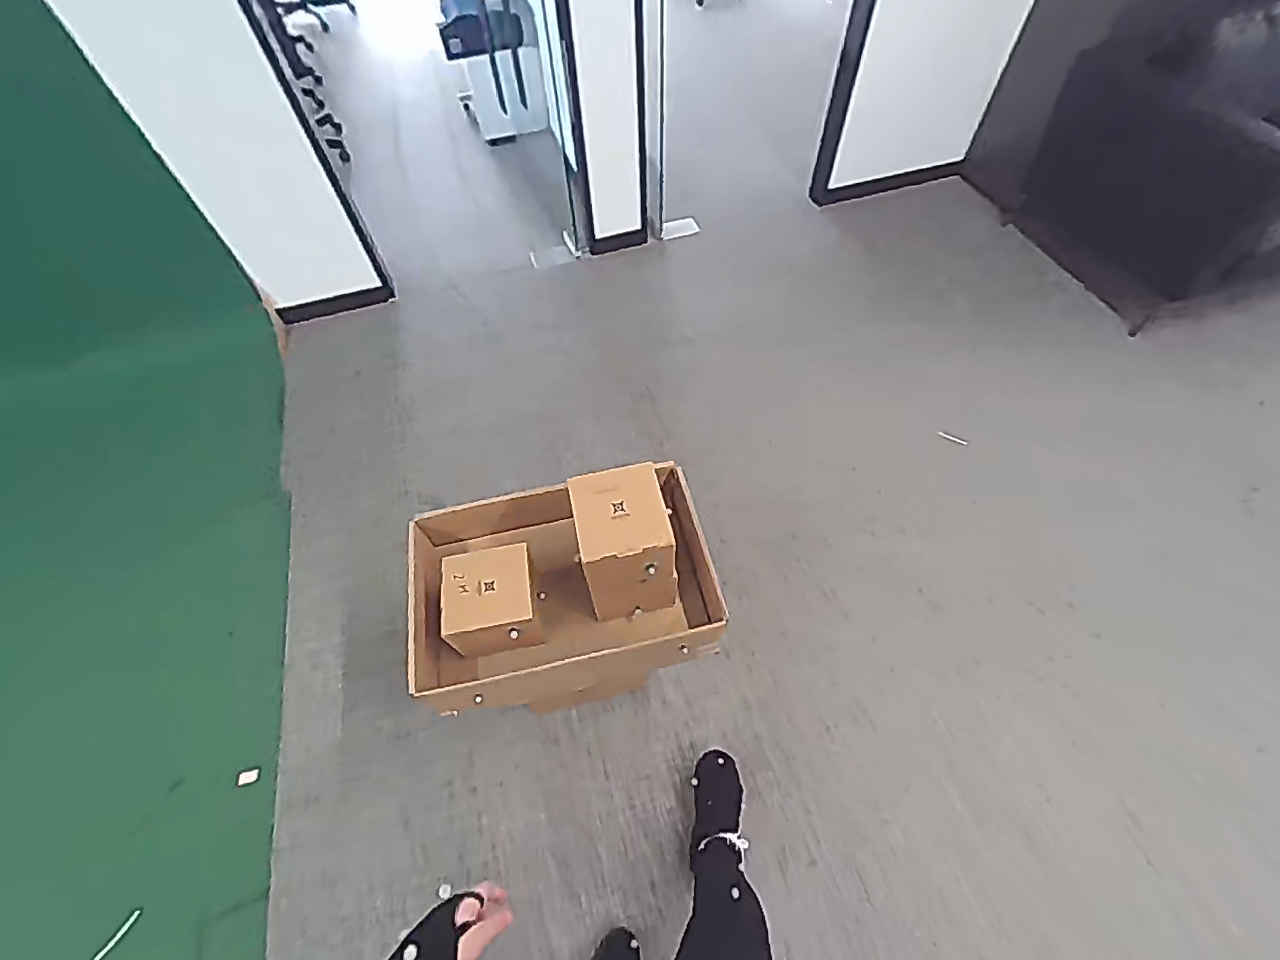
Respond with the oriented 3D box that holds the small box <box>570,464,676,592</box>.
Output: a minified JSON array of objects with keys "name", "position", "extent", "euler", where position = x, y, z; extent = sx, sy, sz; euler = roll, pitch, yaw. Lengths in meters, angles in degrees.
[{"name":"small box","position":[-0.031,0.099,1.026],"extent":[0.168,0.176,0.179],"euler":[-11,57,-6]}]
